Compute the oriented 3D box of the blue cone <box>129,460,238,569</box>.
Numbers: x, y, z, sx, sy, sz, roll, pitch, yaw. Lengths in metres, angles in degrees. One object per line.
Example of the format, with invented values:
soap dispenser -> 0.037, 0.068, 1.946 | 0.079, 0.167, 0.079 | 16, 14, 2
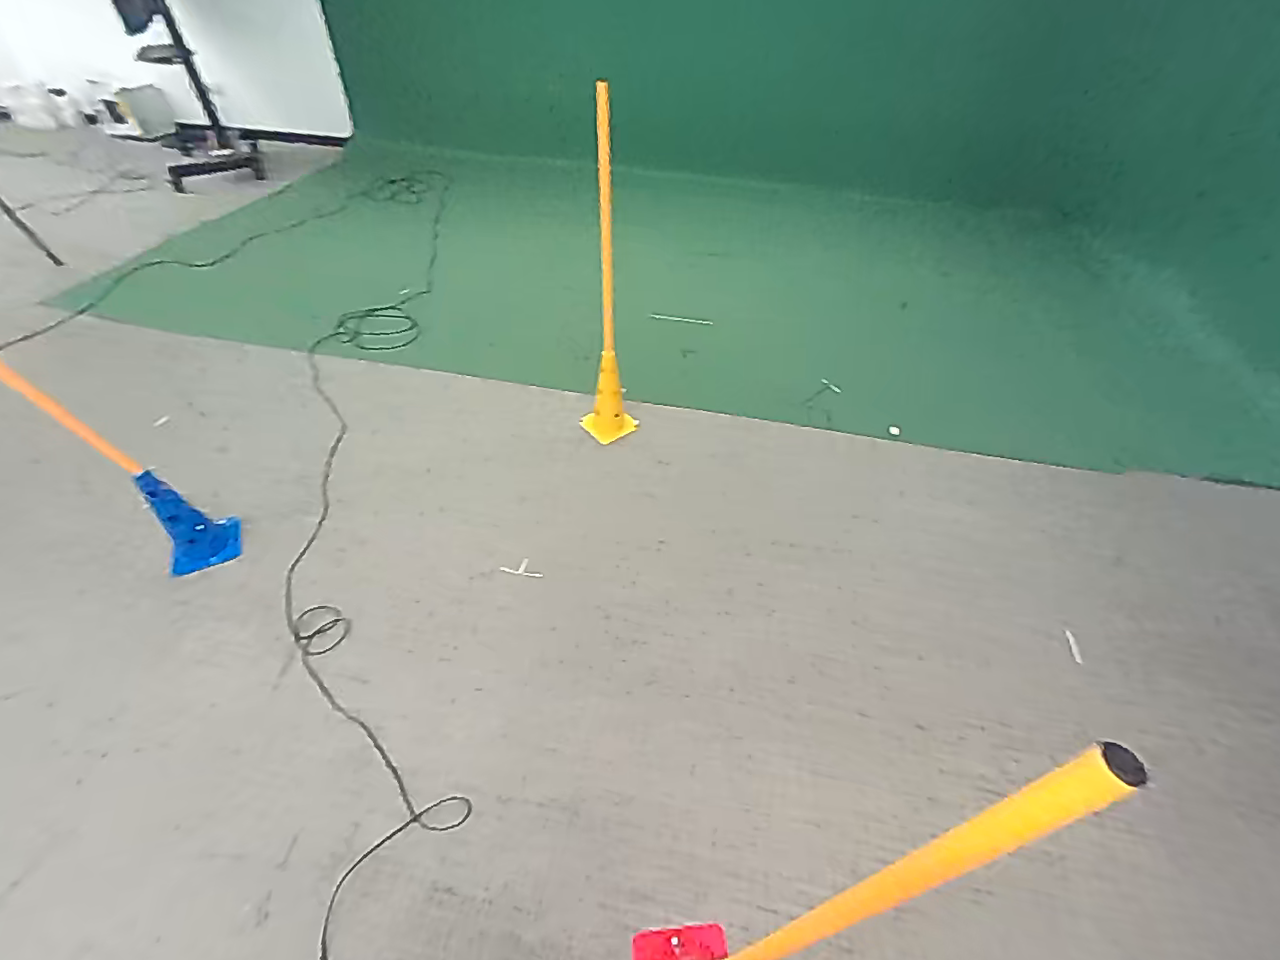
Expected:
blue cone -> -1.438, 0.089, 1.671 | 0.193, 0.380, 0.192 | -22, 51, -20
